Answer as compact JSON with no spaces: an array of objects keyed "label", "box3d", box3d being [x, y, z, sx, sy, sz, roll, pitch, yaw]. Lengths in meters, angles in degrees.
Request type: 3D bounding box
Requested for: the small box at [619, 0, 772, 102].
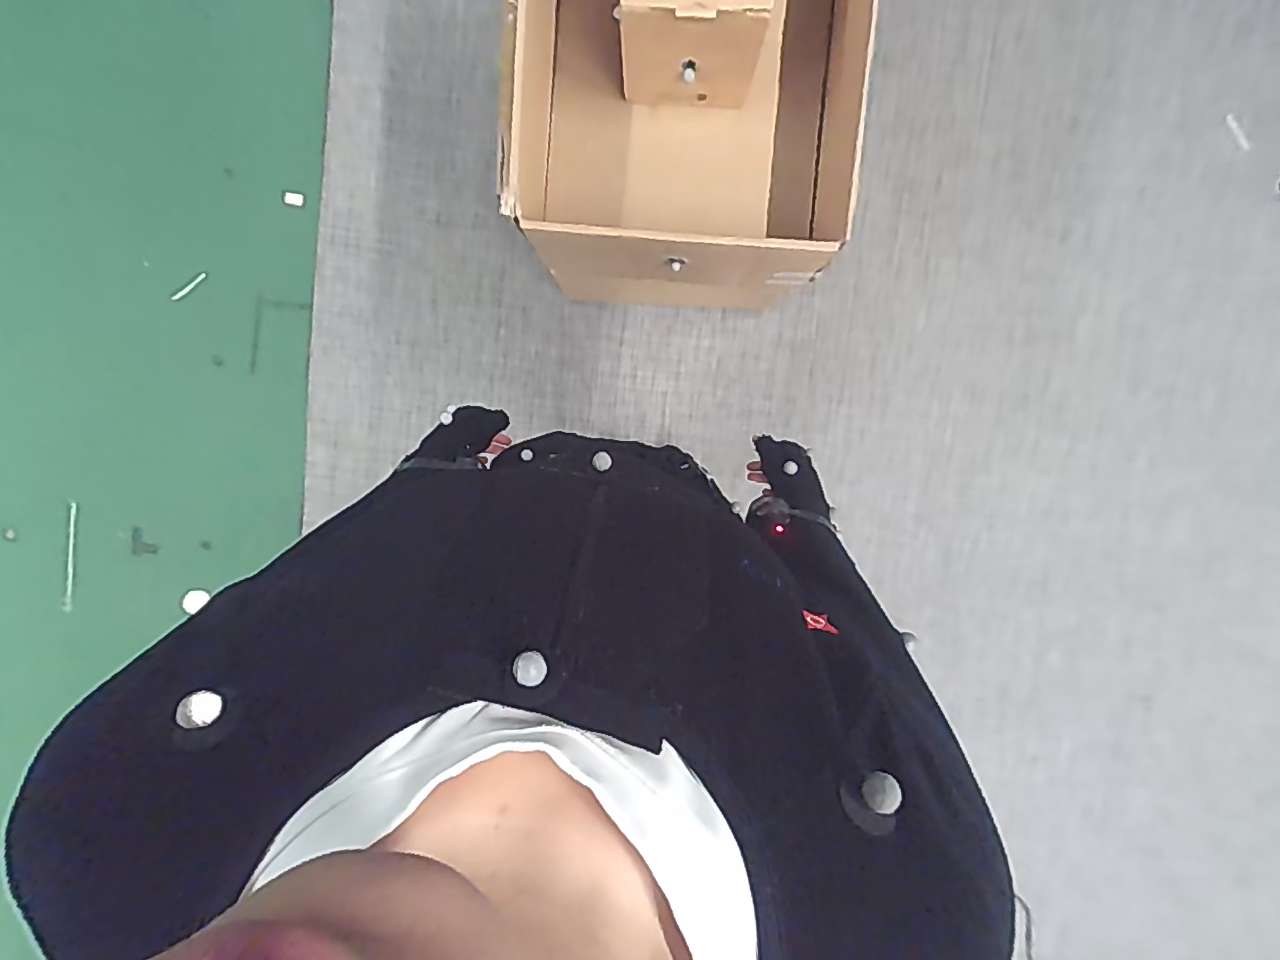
[{"label":"small box","box3d":[0.068,-0.589,0.643,0.168,0.176,0.179,4,95,1]}]
